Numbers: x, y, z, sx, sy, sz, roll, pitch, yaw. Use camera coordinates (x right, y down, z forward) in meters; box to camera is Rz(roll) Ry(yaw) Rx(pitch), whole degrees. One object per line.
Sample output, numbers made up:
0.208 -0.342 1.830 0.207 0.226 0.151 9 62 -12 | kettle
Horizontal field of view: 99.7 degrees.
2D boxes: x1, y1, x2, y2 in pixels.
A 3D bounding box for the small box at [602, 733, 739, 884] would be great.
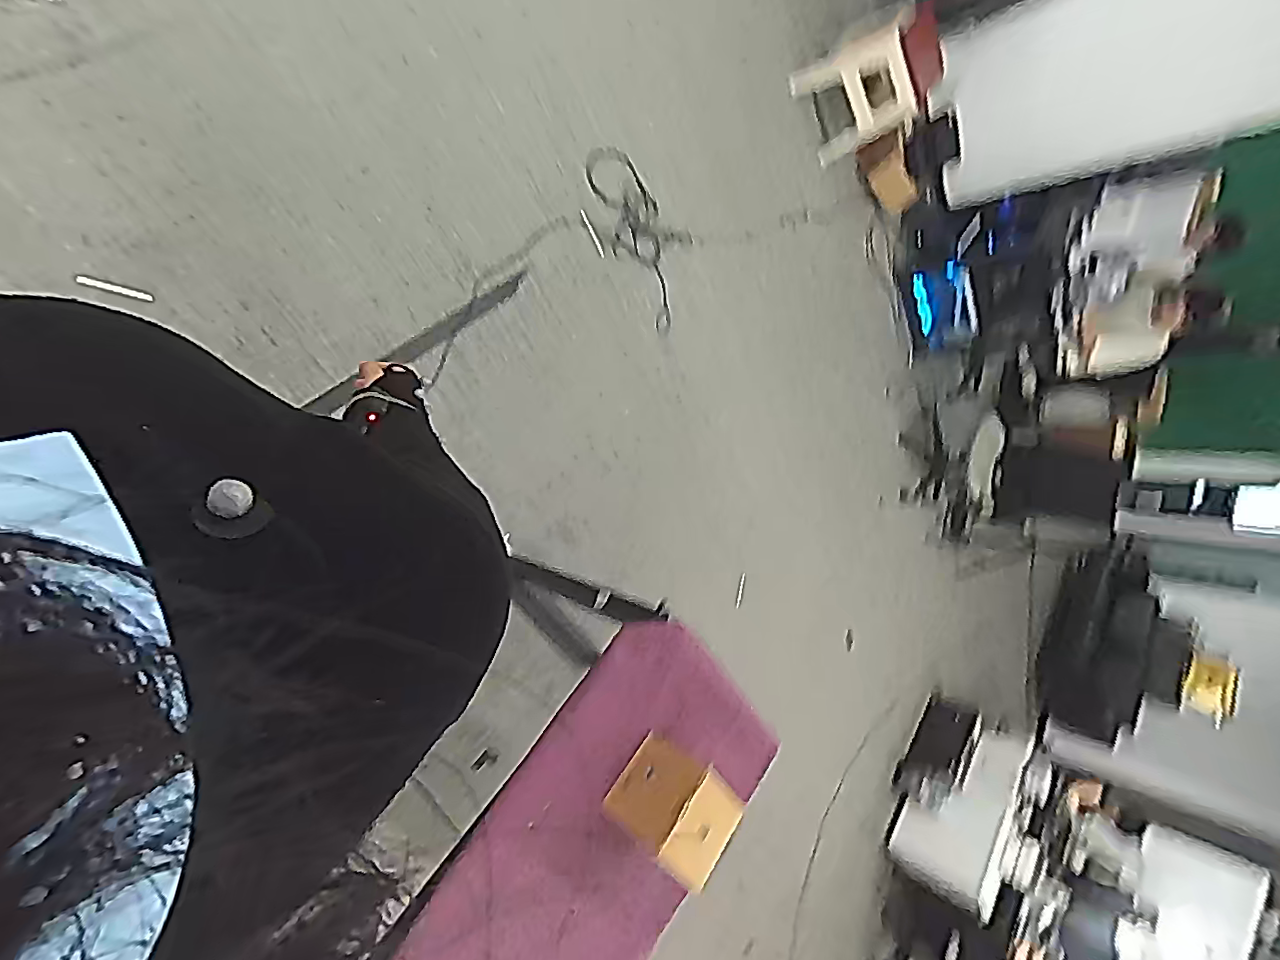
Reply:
0.060 0.643 1.076 0.168 0.176 0.179 -49 122 -25 | small box
